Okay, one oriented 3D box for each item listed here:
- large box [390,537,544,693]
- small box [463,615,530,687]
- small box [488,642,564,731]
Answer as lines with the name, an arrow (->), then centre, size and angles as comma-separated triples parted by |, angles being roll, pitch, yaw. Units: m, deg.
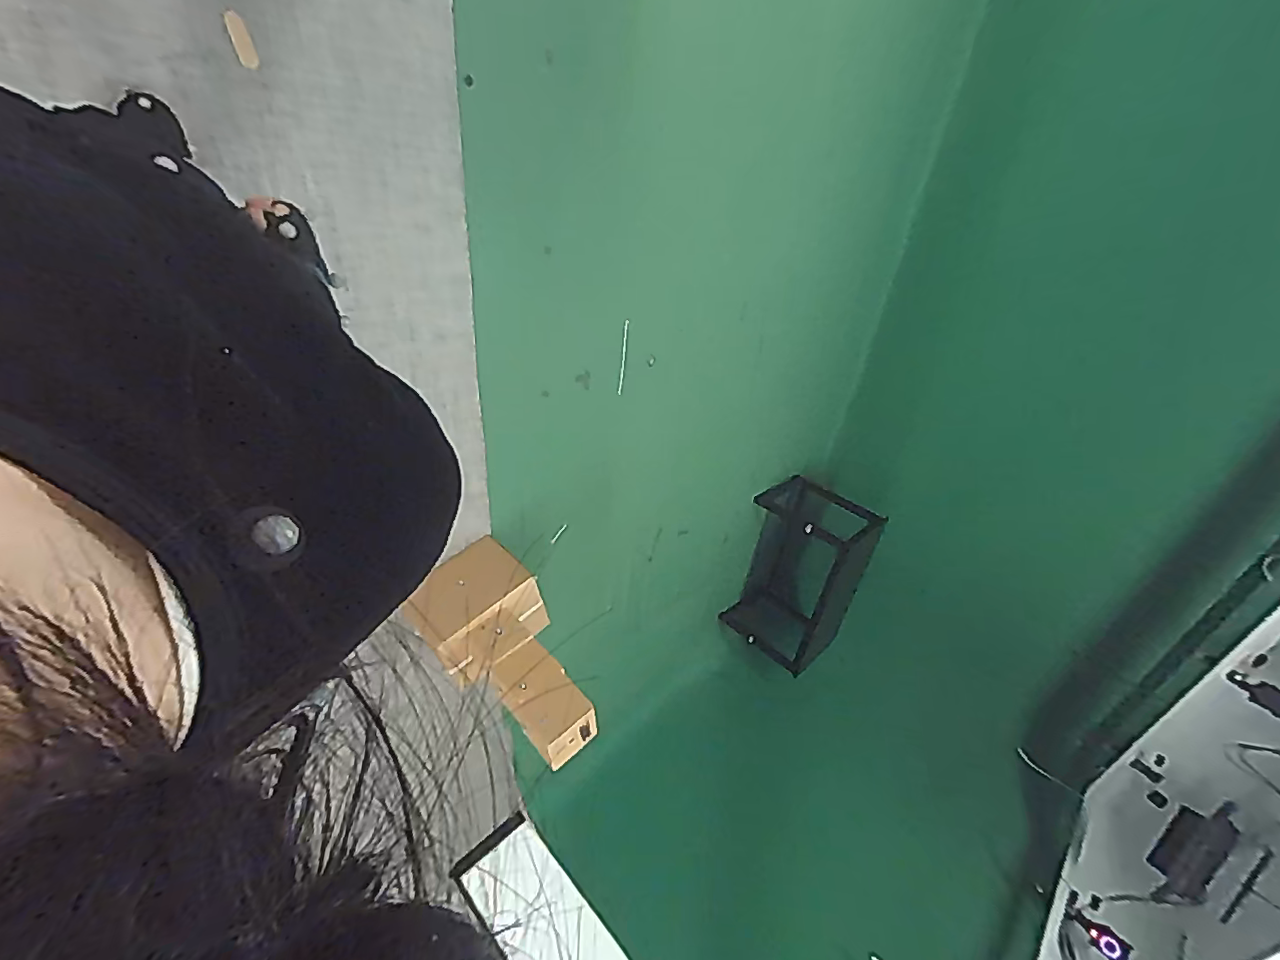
large box -> -0.638, 0.495, 2.029 | 0.408, 0.320, 0.320 | -38, 142, -30
small box -> -0.484, 0.593, 1.859 | 0.168, 0.176, 0.179 | -32, 138, -33
small box -> -0.372, 0.670, 1.771 | 0.179, 0.176, 0.168 | -31, 137, -34
